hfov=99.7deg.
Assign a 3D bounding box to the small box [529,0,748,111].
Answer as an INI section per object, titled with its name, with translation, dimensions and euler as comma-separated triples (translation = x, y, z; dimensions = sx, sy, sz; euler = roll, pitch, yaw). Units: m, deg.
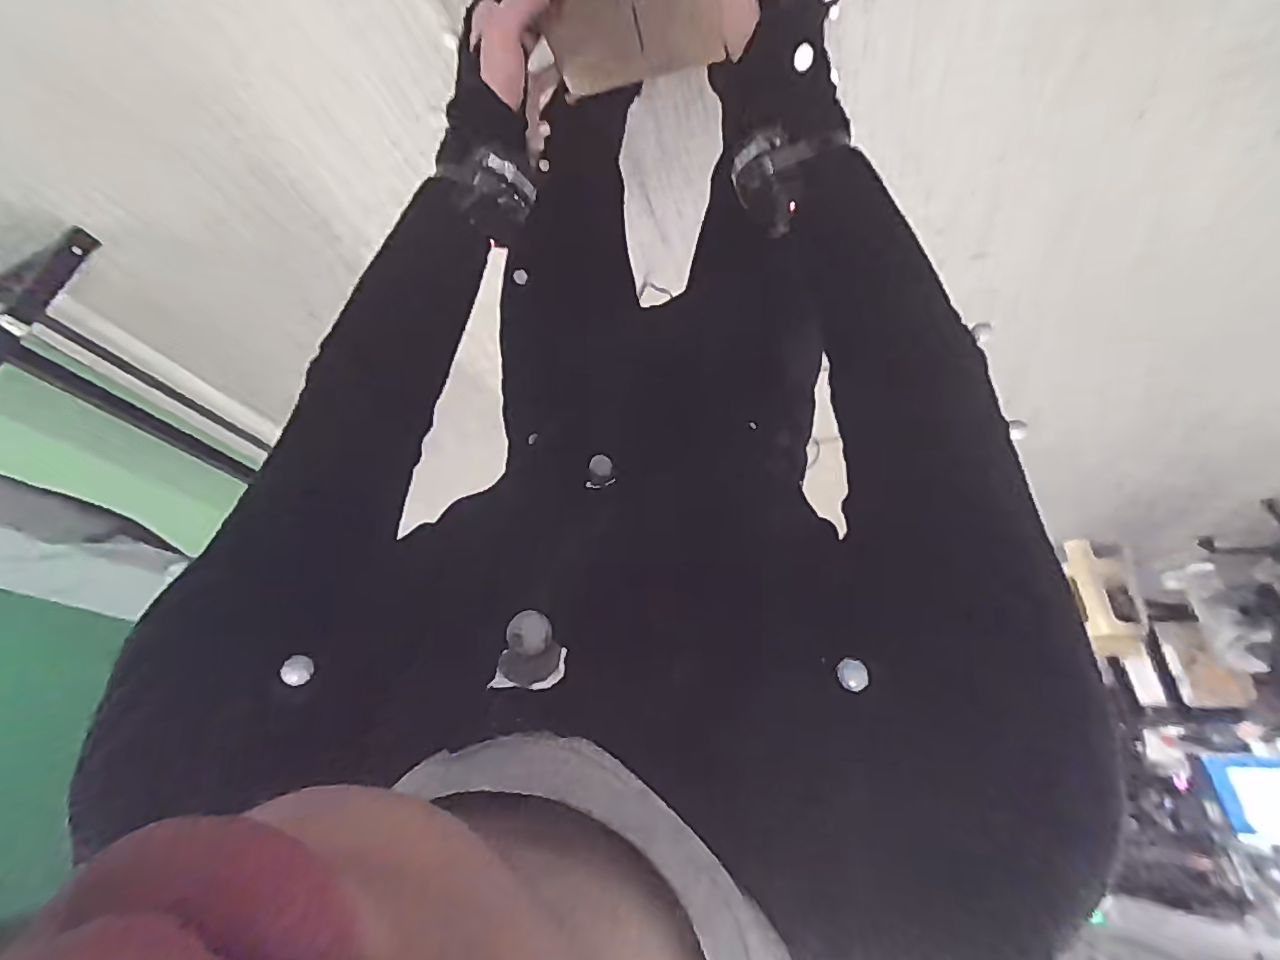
[small box]
translation = -0.002, -0.465, 0.451
dimensions = 0.168, 0.176, 0.179
euler = 0, 161, 19
